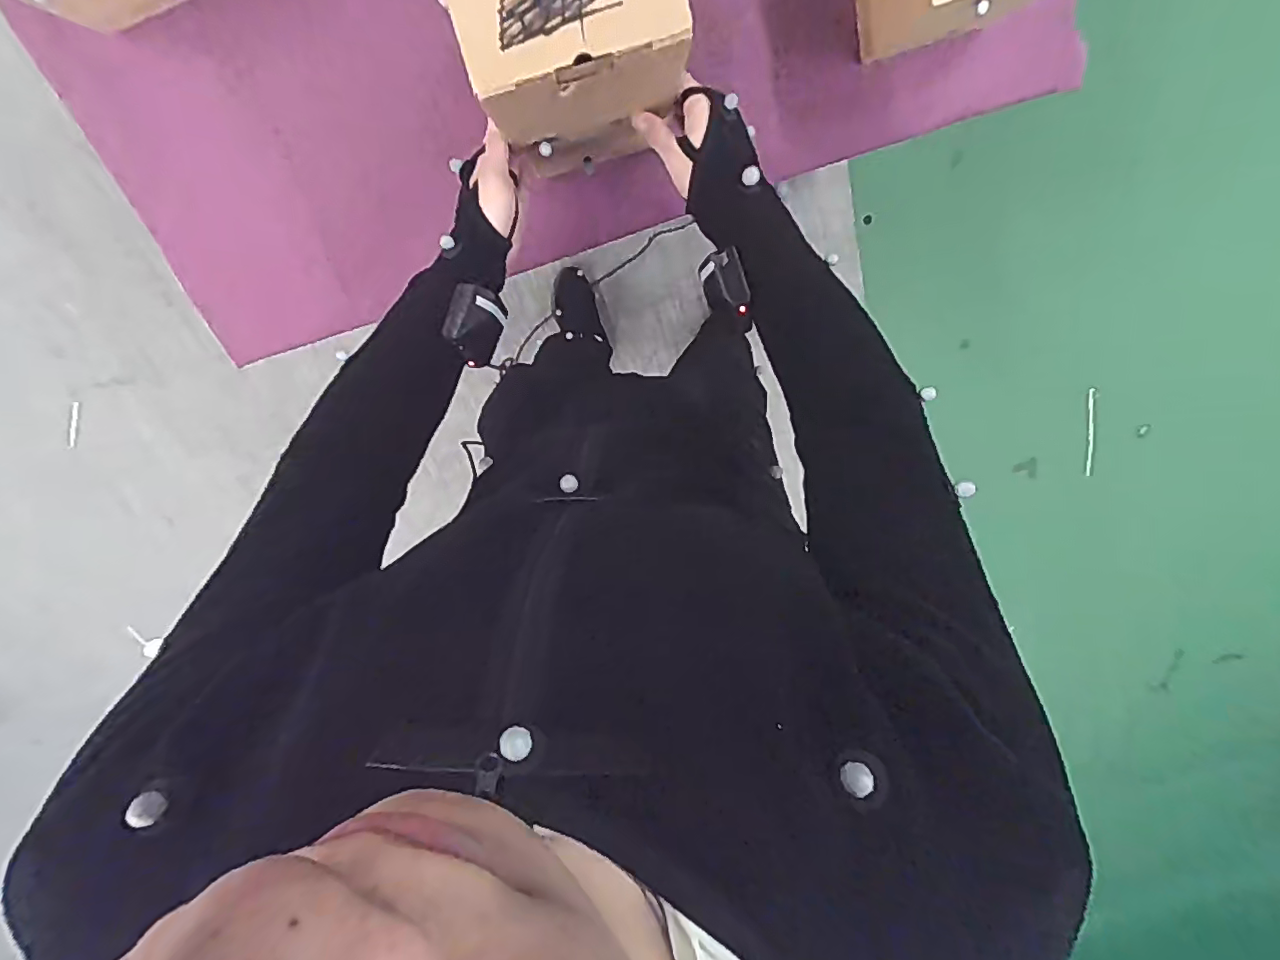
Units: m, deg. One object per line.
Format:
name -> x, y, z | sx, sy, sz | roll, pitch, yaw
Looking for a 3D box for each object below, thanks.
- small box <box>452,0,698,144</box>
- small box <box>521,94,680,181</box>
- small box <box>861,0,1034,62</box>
small box -> -0.058, -0.396, 0.431 | 0.168, 0.176, 0.179 | -15, 107, 2
small box -> -0.064, -0.454, 0.585 | 0.168, 0.176, 0.179 | -15, 109, 2
small box -> 0.341, -0.587, 0.565 | 0.168, 0.176, 0.179 | -15, 112, 4
